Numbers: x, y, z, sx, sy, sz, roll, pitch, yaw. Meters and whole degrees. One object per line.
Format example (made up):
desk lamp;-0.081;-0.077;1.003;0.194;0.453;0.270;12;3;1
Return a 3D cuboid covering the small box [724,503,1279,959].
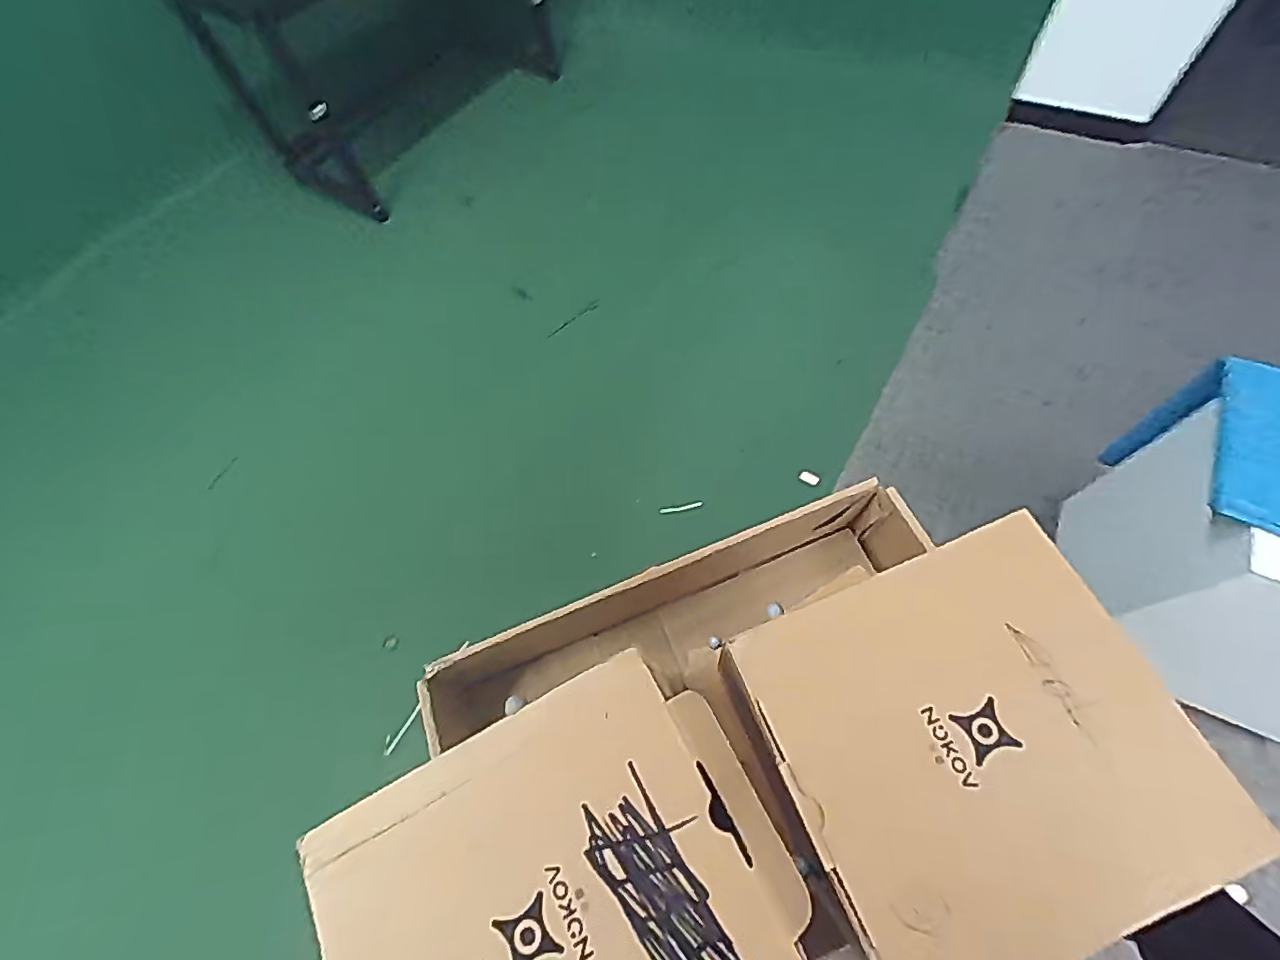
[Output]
small box;0.161;0.142;0.318;0.179;0.176;0.168;-22;66;-3
